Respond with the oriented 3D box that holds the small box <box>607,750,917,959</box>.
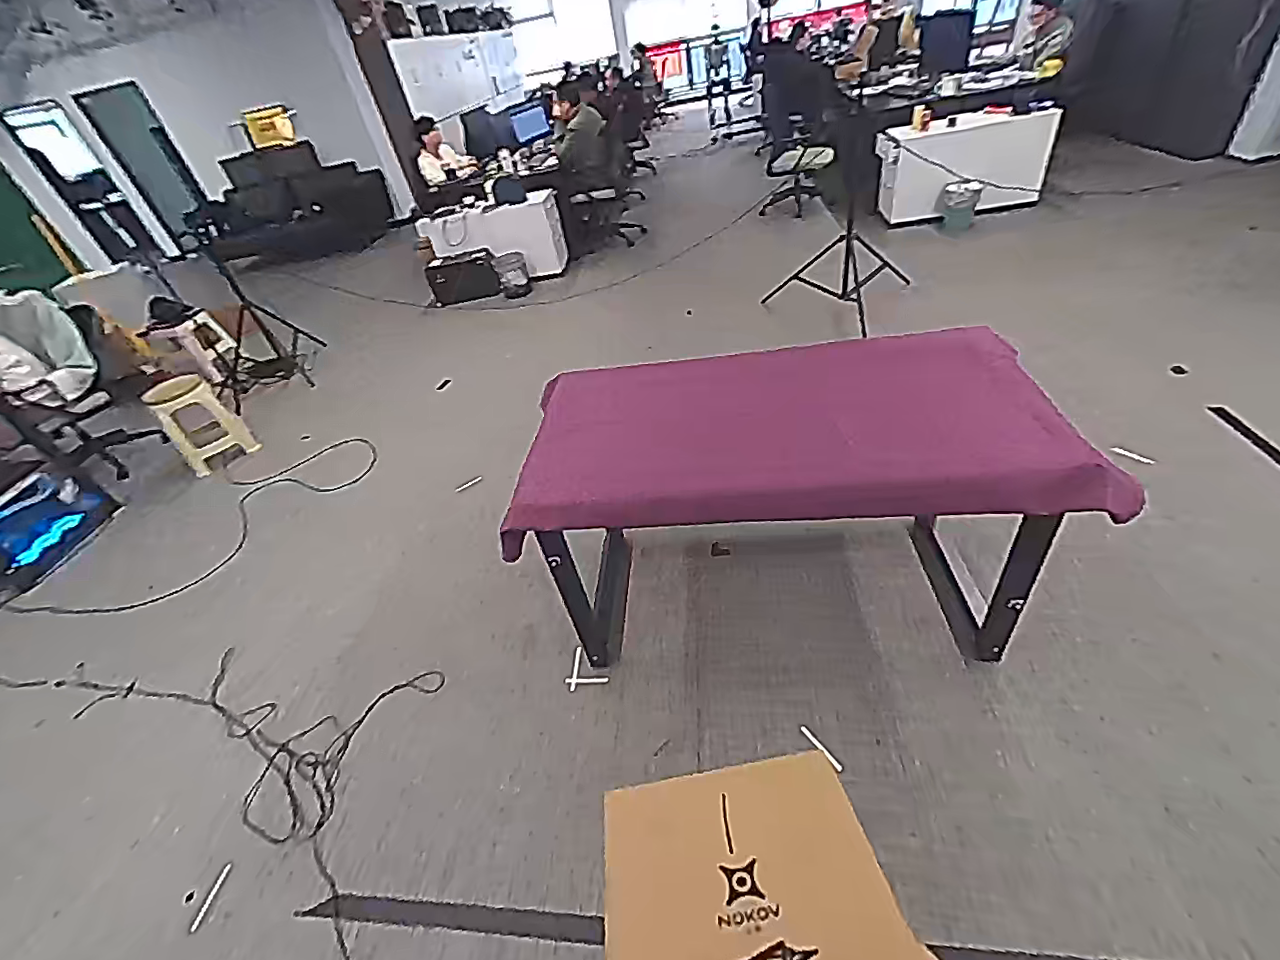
[{"bbox_3d":[0.076,0.318,0.347,0.168,0.176,0.179,-11,21,1],"label":"small box"}]
